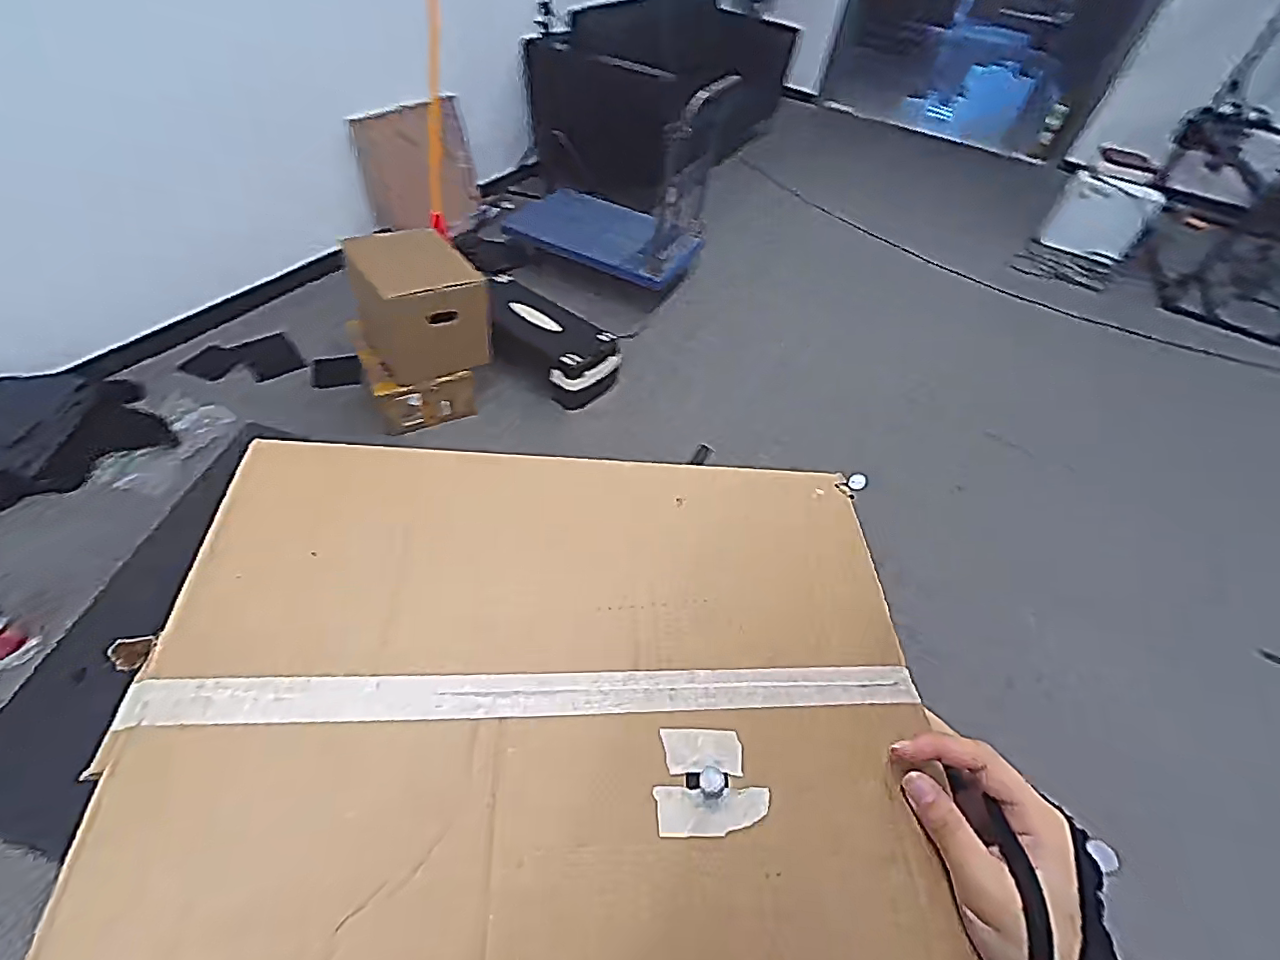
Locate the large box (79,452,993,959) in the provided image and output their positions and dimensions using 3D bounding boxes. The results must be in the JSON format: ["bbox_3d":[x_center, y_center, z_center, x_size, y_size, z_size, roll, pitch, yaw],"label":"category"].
[{"bbox_3d":[-0.057,0.203,0.419,0.408,0.320,0.320,4,56,-11],"label":"large box"}]
